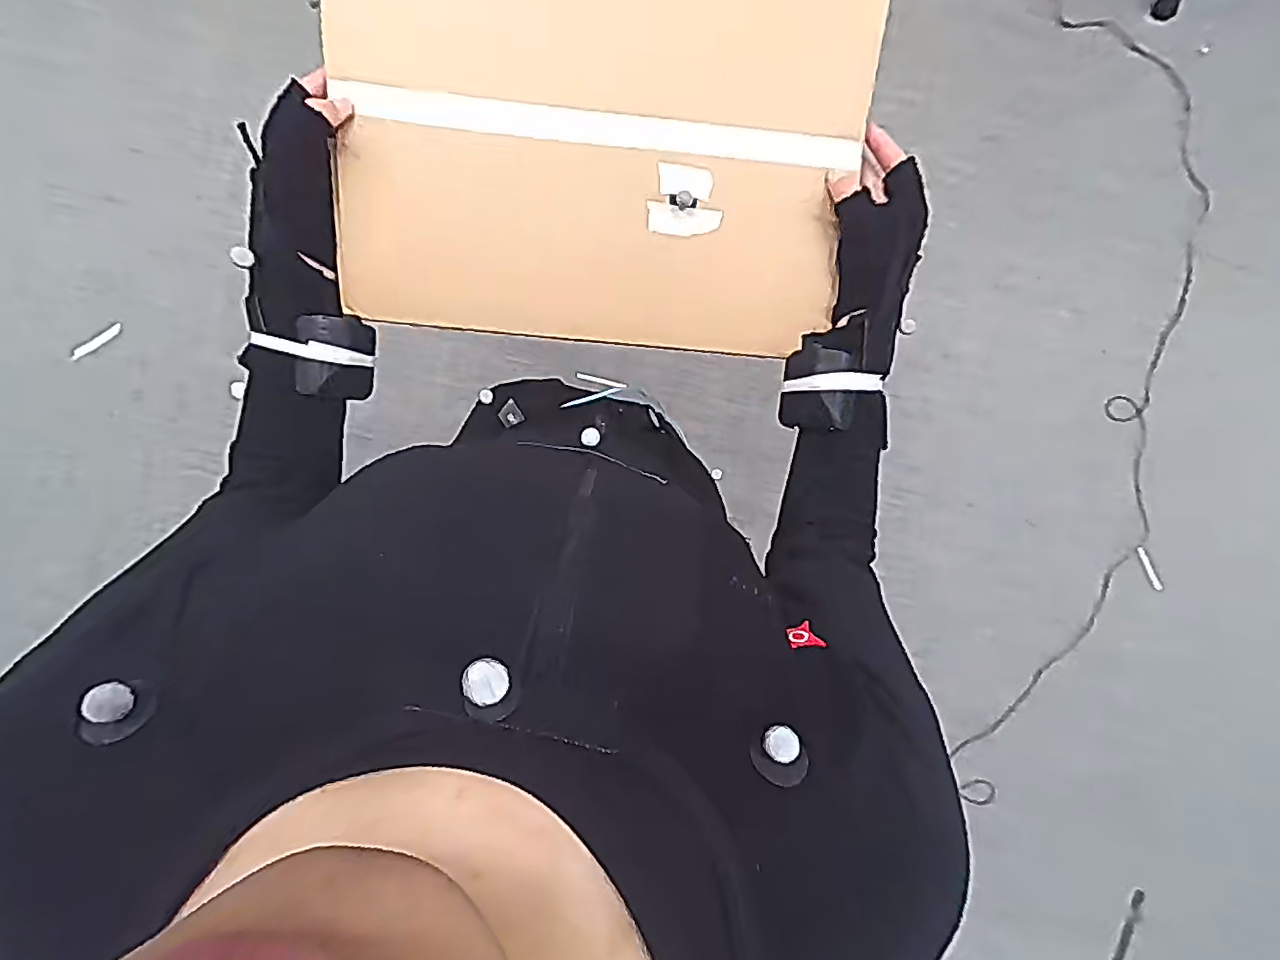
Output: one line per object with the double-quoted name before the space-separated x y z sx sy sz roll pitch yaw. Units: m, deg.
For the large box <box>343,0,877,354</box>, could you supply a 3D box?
"large box" -0.036 -0.311 0.571 0.408 0.320 0.320 4 107 -5
